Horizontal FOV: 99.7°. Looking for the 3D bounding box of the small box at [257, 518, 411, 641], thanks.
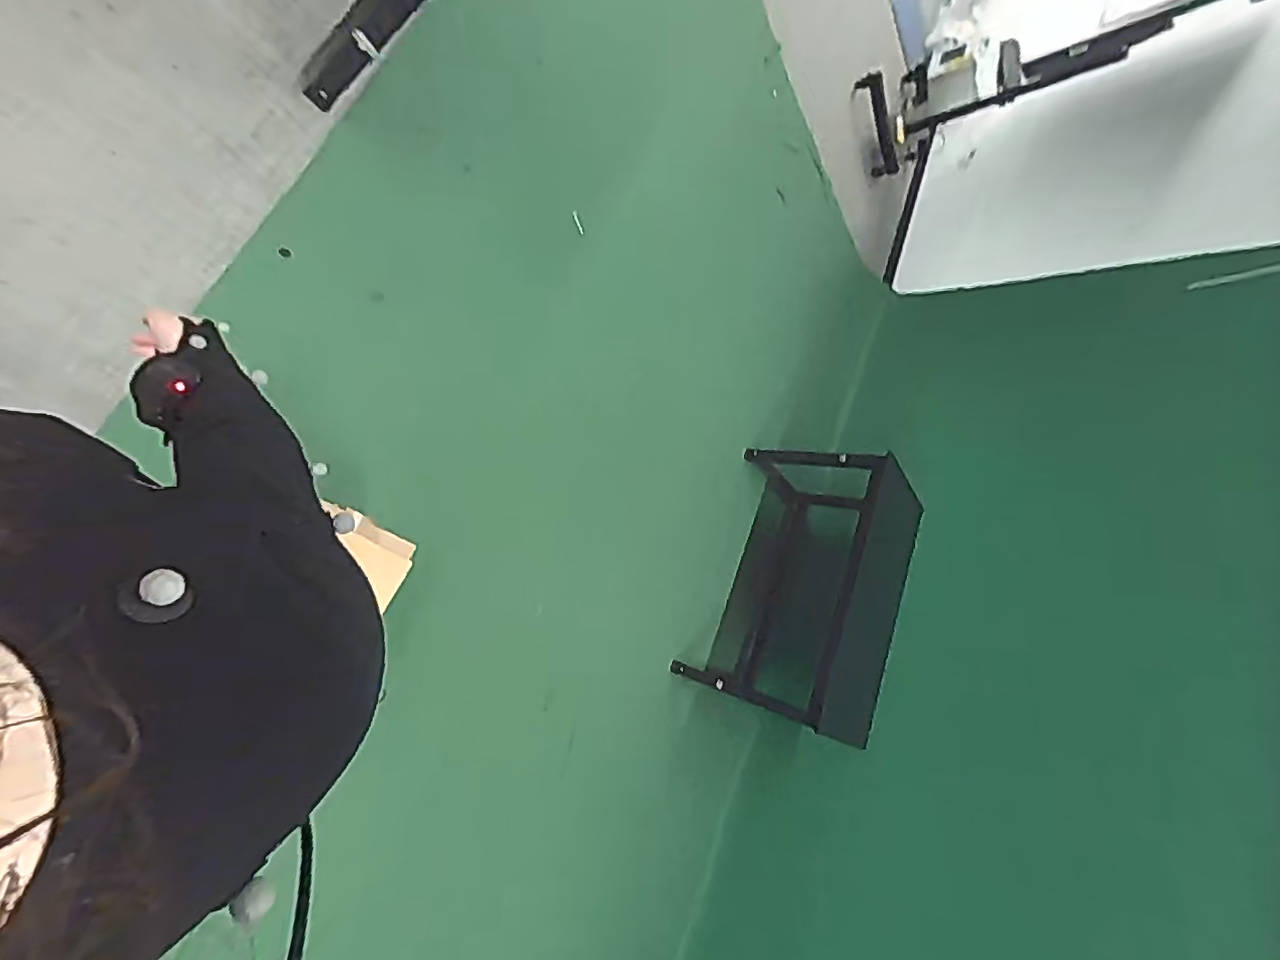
[{"bbox_3d":[-0.595,0.187,1.053,0.179,0.176,0.168,43,65,-40],"label":"small box"}]
